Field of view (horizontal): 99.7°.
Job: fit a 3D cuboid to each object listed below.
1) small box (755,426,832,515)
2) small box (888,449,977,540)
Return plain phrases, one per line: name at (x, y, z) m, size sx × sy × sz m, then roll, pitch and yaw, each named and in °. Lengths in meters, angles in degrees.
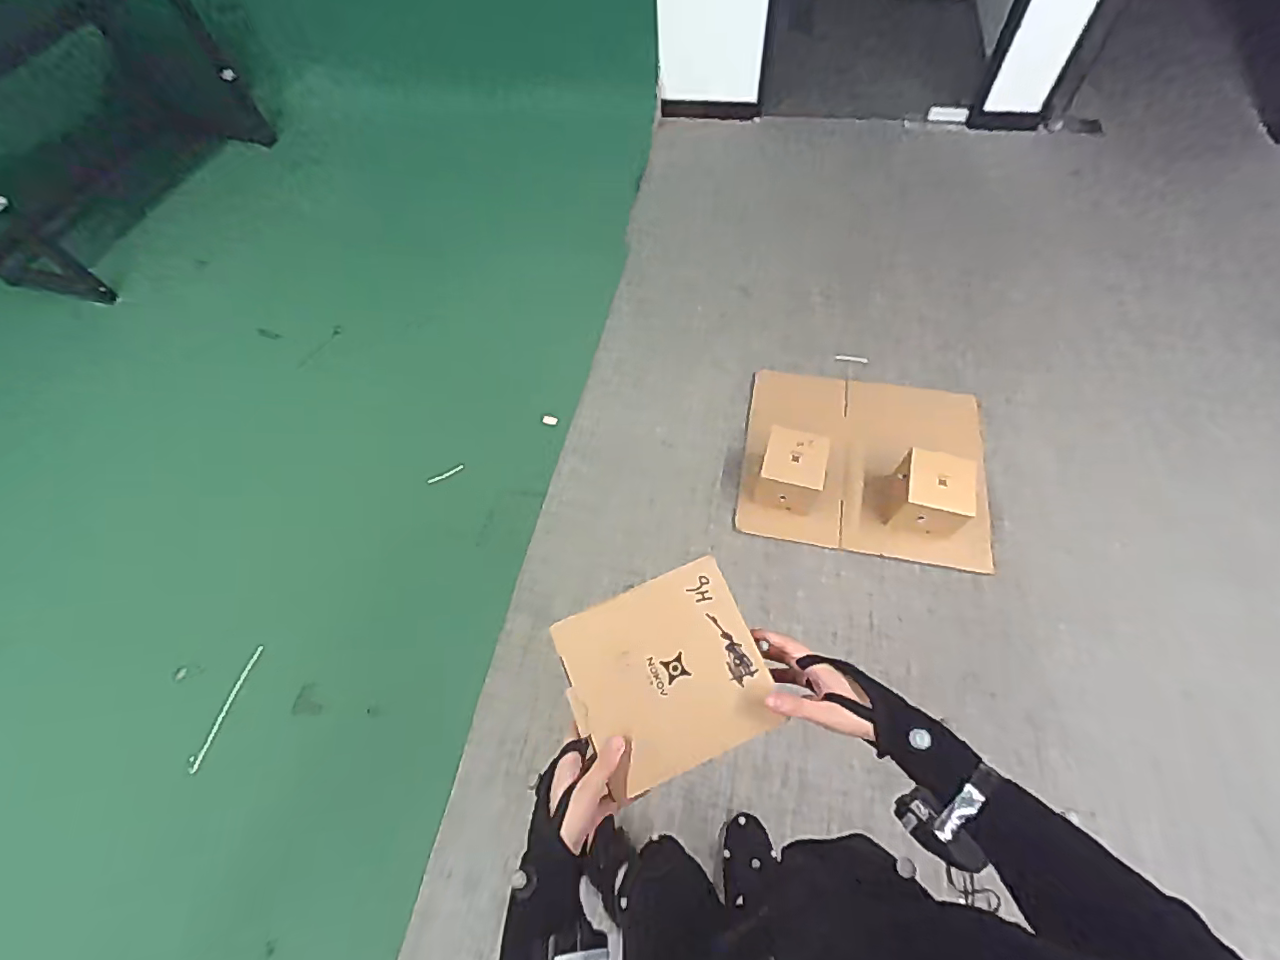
small box at (0.429, -0.021, 1.532) m, size 0.168 × 0.176 × 0.179 m, roll 14°, pitch 63°, yaw 11°
small box at (0.789, 0.044, 1.471) m, size 0.168 × 0.176 × 0.179 m, roll 13°, pitch 62°, yaw 10°
